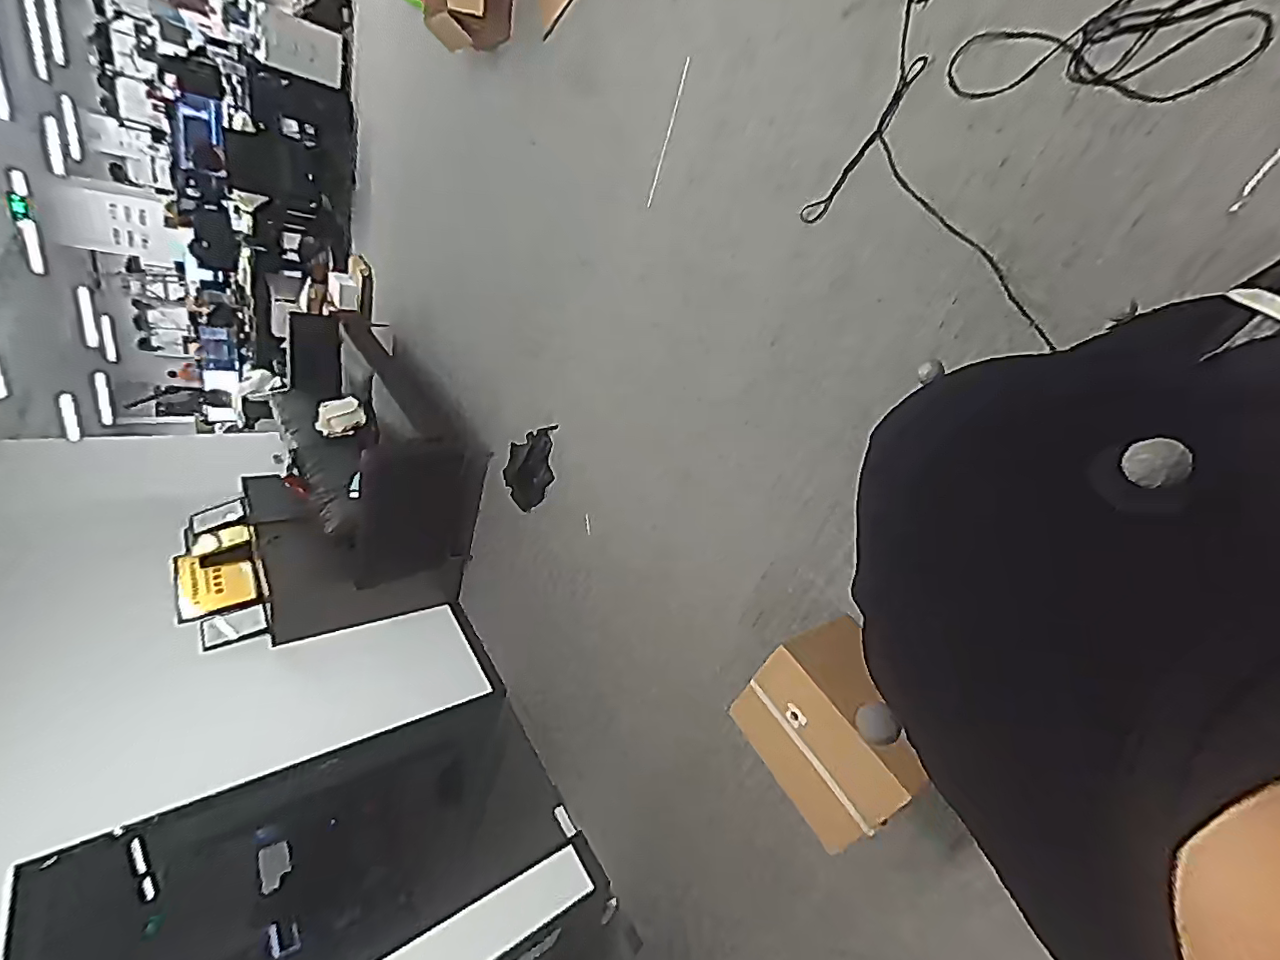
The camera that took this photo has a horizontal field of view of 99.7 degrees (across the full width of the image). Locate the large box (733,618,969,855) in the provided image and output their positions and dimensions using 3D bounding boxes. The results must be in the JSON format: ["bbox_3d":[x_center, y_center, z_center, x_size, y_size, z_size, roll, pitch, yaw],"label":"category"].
[{"bbox_3d":[0.528,0.636,1.396,0.408,0.320,0.320,50,130,35],"label":"large box"}]
